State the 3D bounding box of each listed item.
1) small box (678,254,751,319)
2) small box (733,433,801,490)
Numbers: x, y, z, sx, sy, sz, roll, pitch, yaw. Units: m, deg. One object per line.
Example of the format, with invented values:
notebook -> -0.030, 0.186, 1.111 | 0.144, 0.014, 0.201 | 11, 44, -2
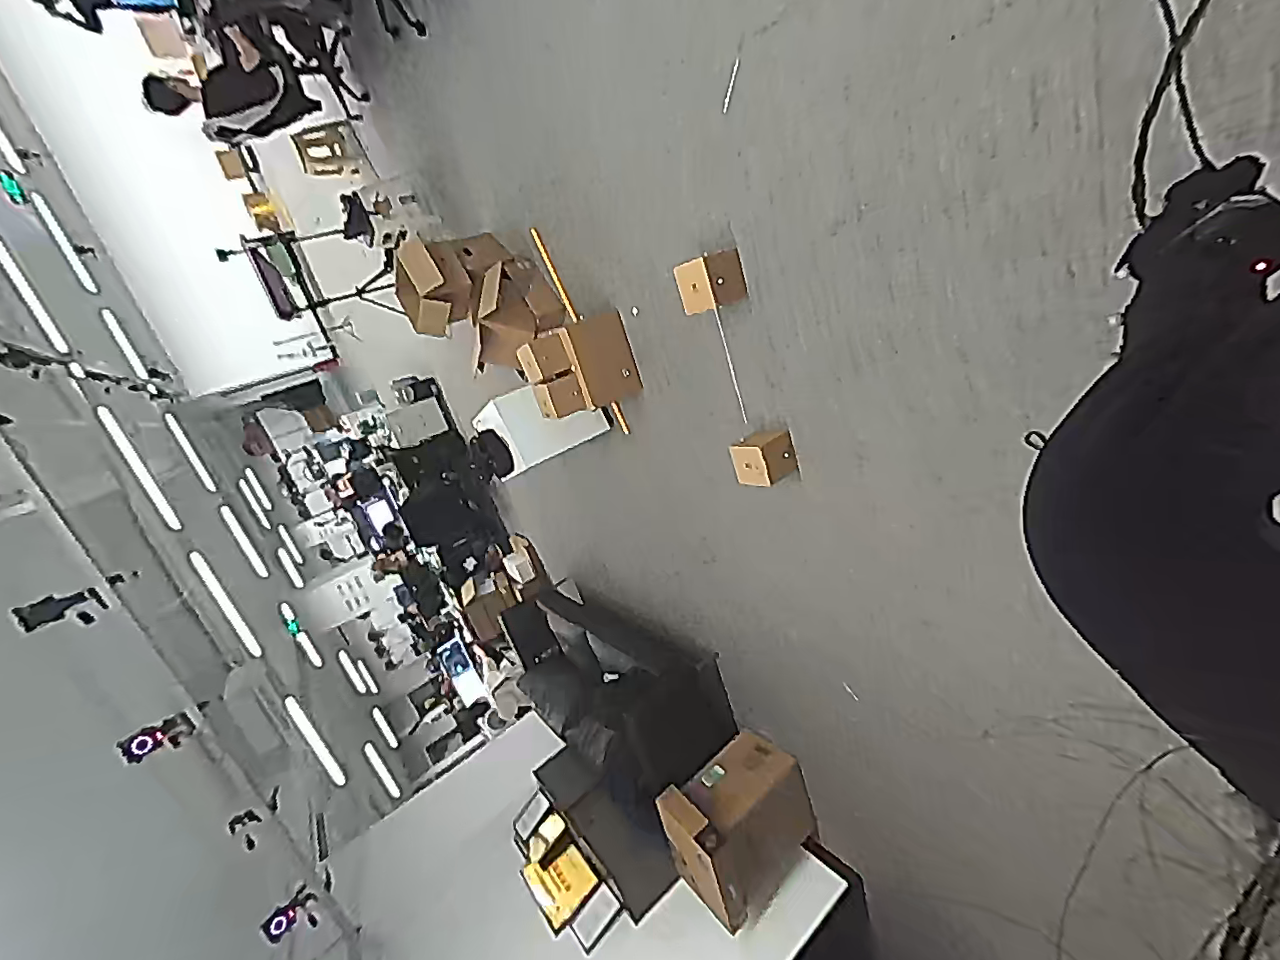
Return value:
small box -> 0.268, -0.696, 1.937 | 0.168, 0.176, 0.179 | 6, 121, 56
small box -> 0.500, -0.077, 2.118 | 0.179, 0.176, 0.168 | 7, 121, 57
